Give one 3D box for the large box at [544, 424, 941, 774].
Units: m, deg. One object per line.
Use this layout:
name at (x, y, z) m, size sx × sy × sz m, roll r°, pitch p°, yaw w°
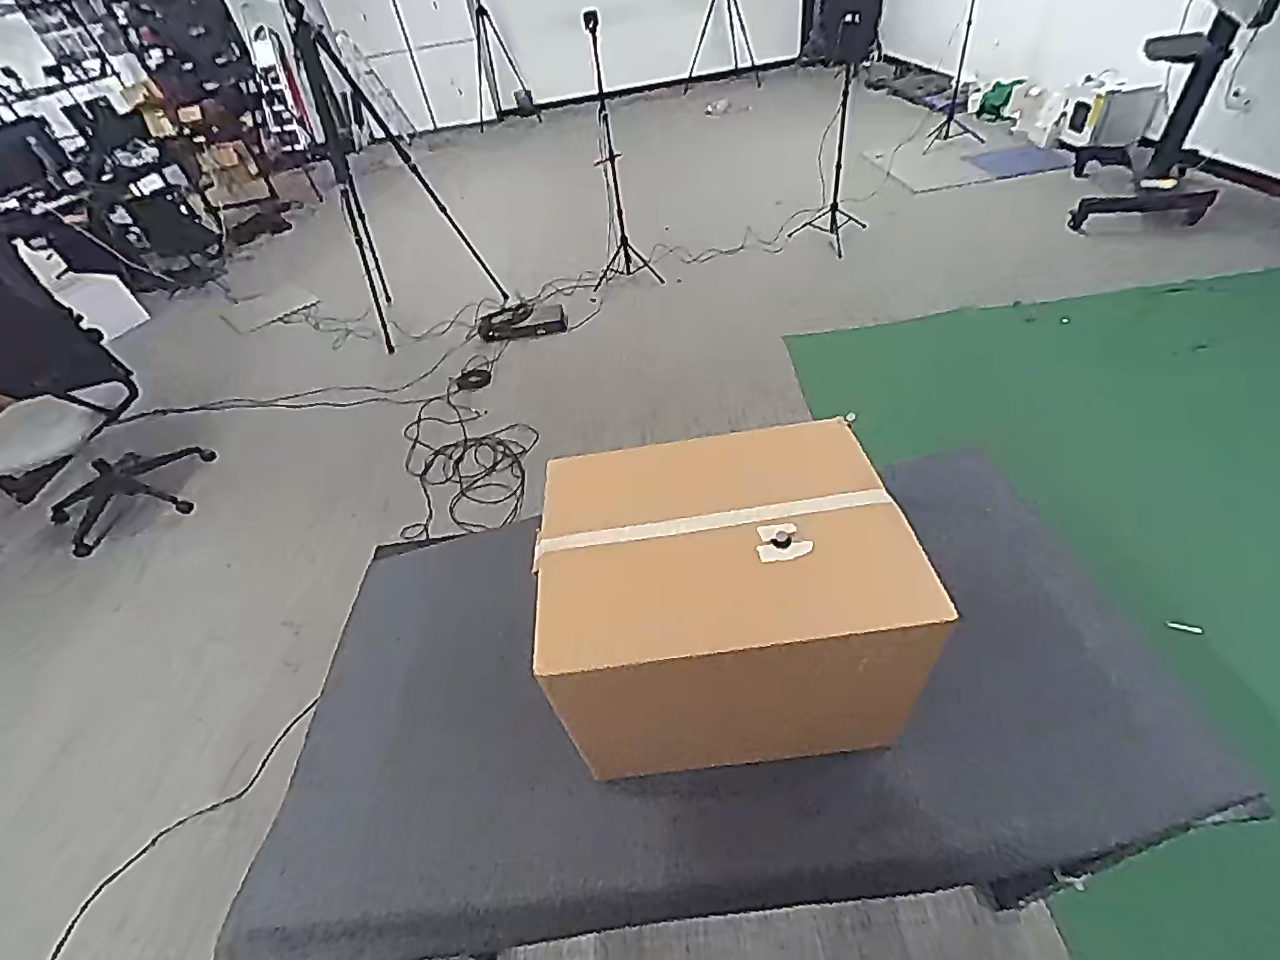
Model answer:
large box at (0.103, 0.163, 0.736) m, size 0.408 × 0.320 × 0.320 m, roll -8°, pitch 44°, yaw 2°
